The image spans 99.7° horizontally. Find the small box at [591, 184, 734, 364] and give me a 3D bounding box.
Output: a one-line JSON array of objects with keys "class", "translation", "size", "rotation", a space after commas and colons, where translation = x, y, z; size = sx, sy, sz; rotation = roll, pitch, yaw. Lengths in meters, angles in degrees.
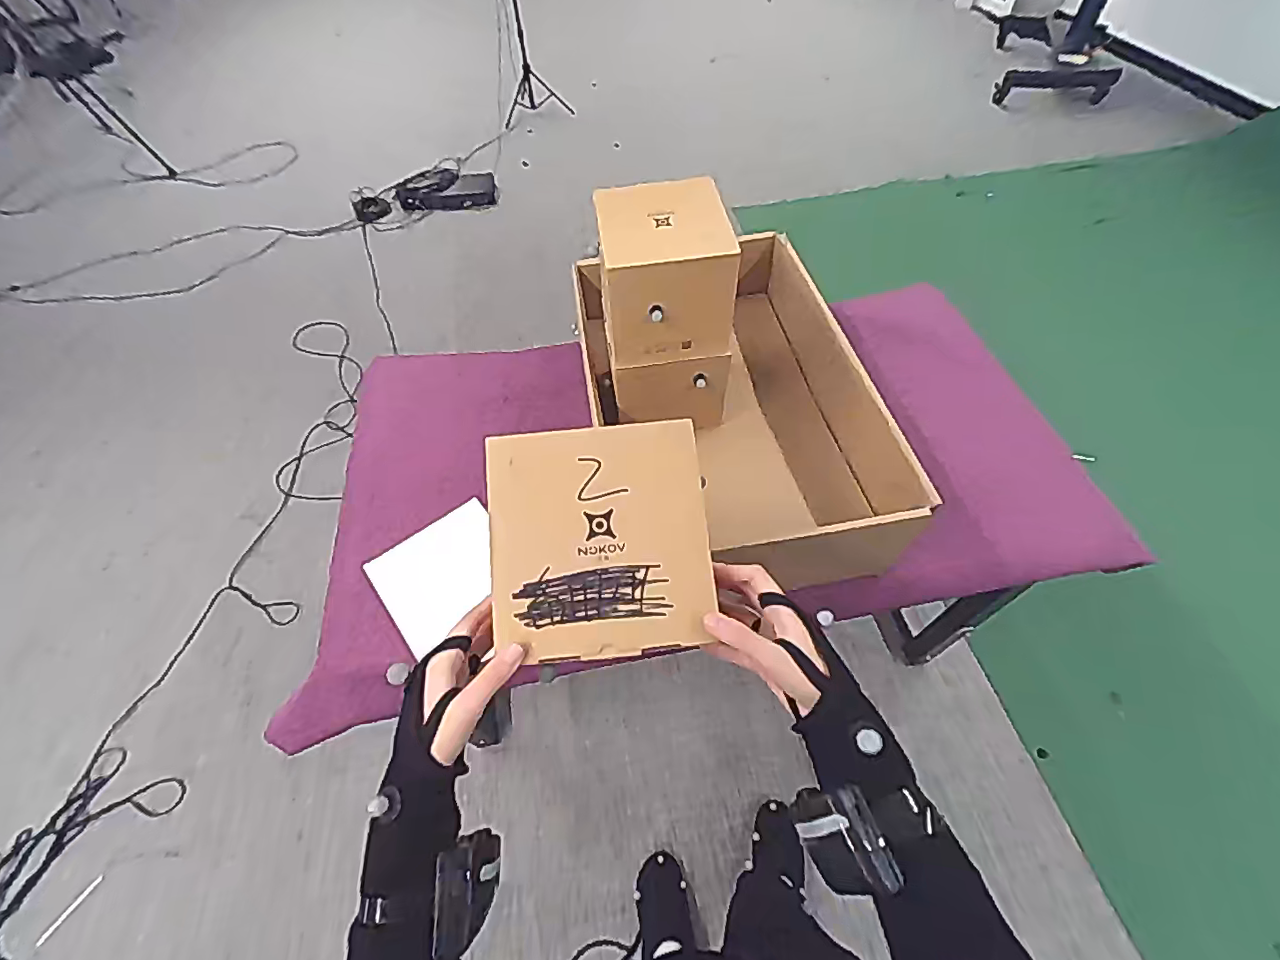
[{"class": "small box", "translation": [0.028, -0.279, 0.758], "size": [0.168, 0.176, 0.179], "rotation": [-8, 56, -3]}]
